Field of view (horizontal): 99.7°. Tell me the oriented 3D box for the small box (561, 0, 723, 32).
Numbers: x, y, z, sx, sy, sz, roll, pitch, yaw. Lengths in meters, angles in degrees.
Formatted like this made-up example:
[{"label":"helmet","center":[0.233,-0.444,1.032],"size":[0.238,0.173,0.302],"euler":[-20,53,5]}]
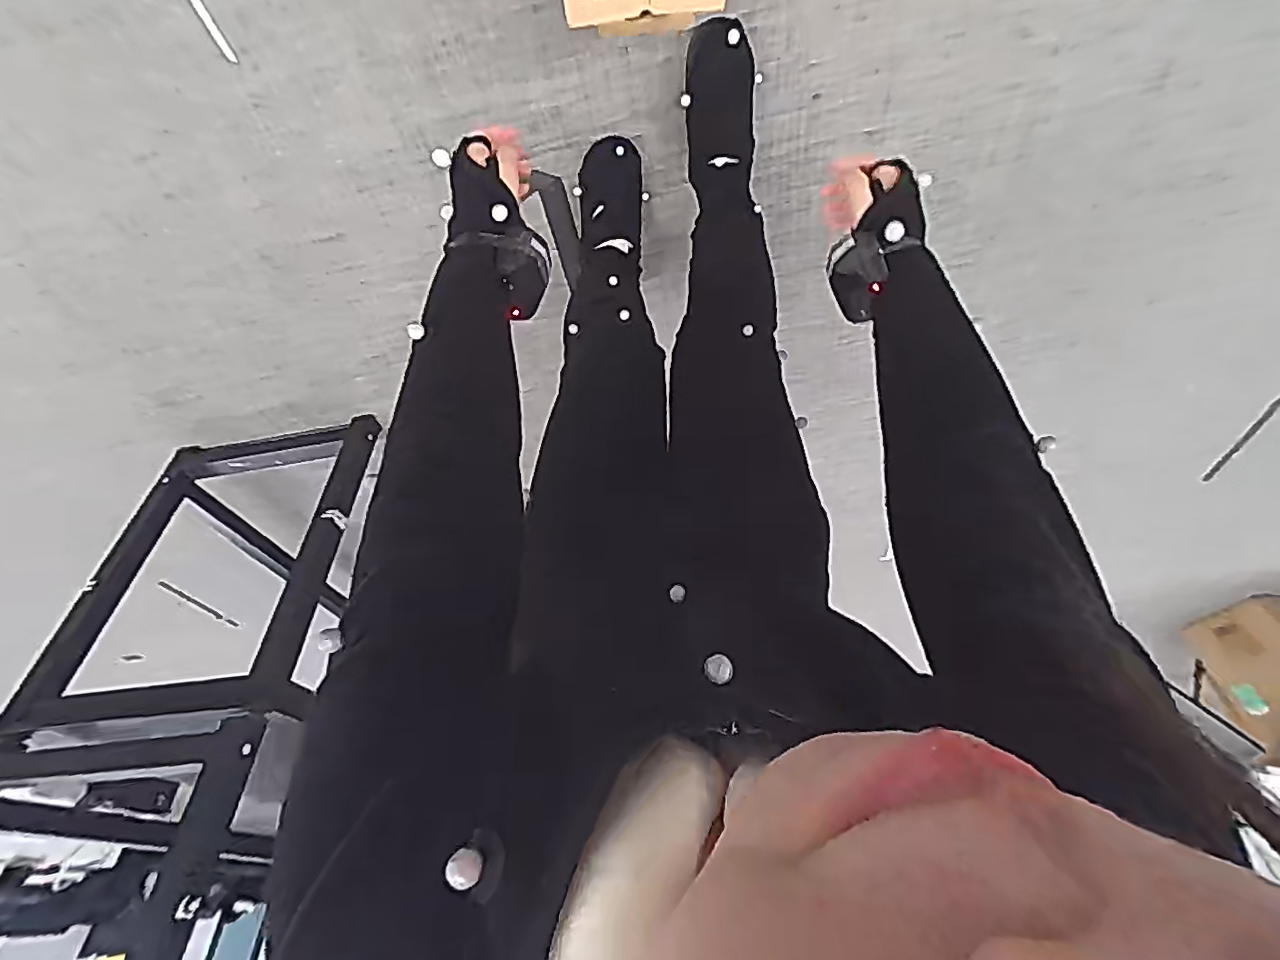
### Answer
[{"label":"small box","center":[-0.004,-0.584,0.539],"size":[0.168,0.176,0.179],"euler":[-5,140,1]}]
